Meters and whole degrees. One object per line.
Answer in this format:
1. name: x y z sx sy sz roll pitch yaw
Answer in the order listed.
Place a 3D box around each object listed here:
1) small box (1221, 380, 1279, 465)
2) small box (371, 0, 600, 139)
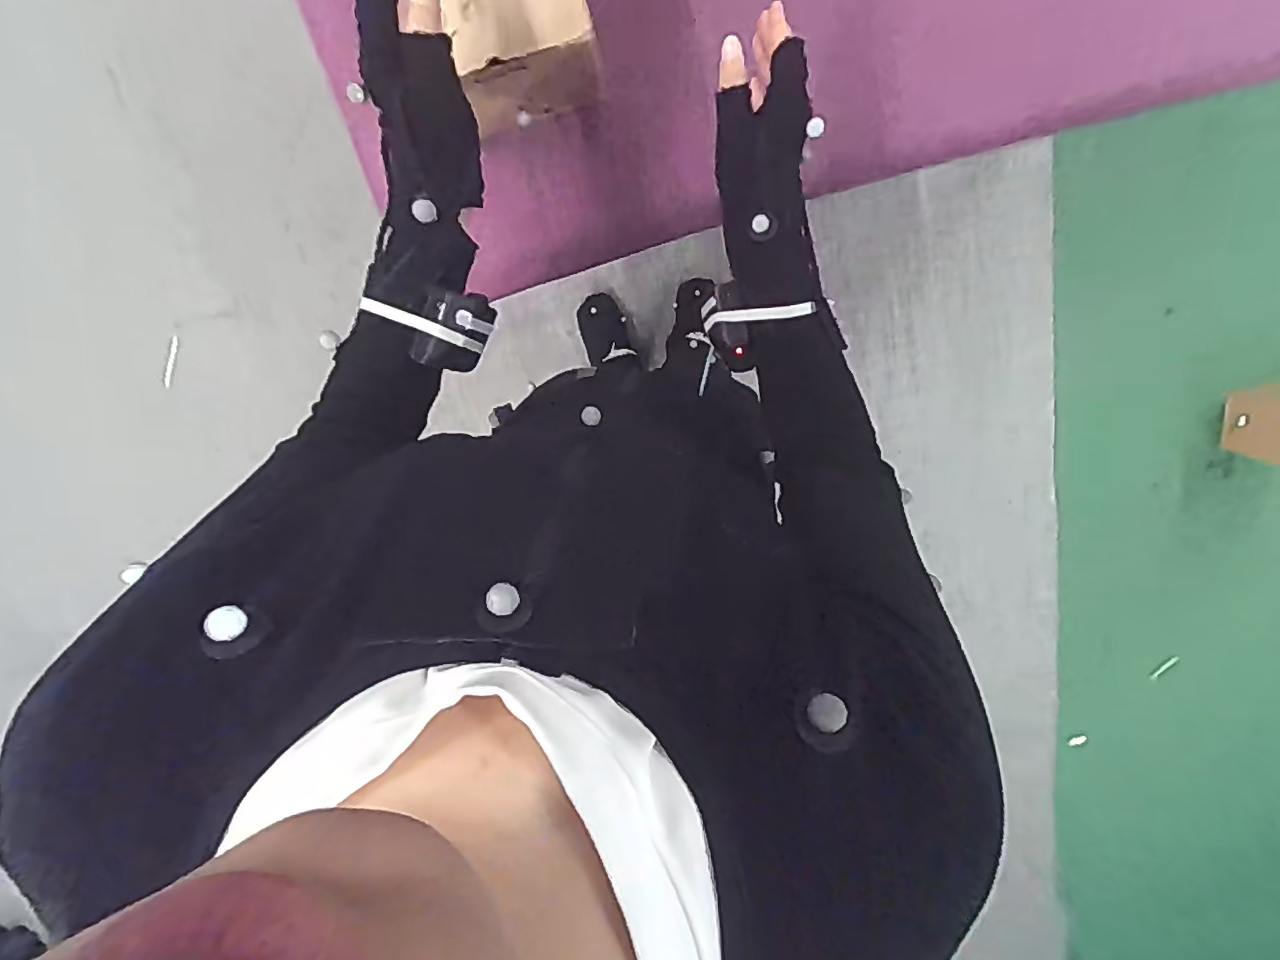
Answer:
1. small box: 1.666 -0.155 1.378 0.179 0.176 0.168 -14 110 6
2. small box: -0.139 -0.443 0.488 0.168 0.176 0.179 -14 111 5
